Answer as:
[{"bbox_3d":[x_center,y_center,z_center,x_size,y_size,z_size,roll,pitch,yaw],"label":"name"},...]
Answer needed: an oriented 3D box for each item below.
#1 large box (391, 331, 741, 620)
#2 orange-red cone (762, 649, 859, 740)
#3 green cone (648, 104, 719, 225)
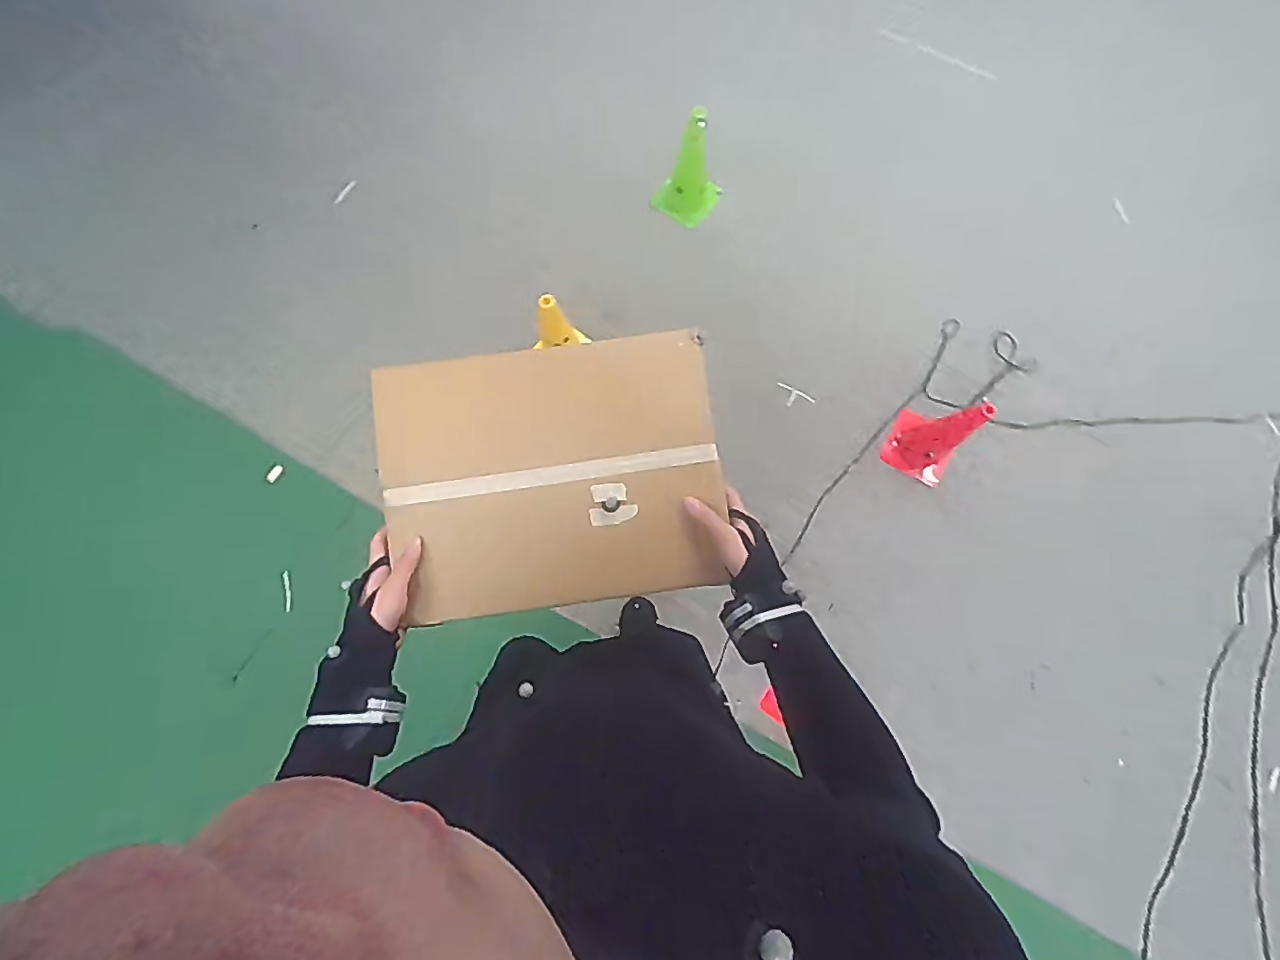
[{"bbox_3d":[-0.098,0.002,0.811,0.408,0.320,0.320,-8,86,-2],"label":"large box"},{"bbox_3d":[0.486,0.594,1.415,0.199,0.360,0.198,36,81,5],"label":"orange-red cone"},{"bbox_3d":[0.155,-1.061,1.764,0.200,0.368,0.202,34,81,7],"label":"green cone"}]
